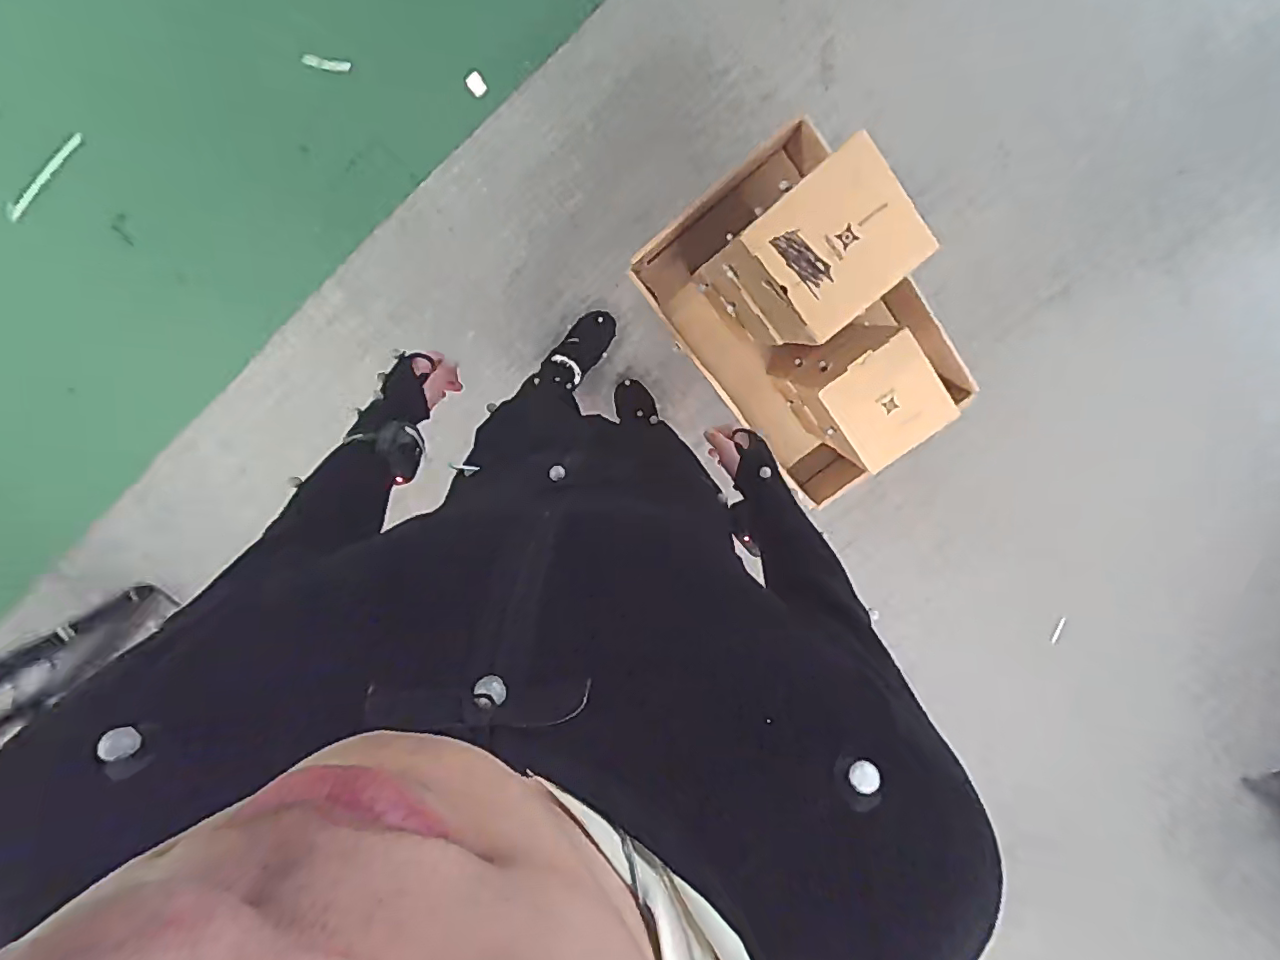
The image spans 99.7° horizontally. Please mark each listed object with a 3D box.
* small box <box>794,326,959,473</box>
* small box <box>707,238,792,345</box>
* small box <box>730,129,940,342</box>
[{"bbox_3d":[0.390,-0.143,0.926,0.168,0.176,0.179,-36,104,10],"label":"small box"},{"bbox_3d":[0.227,-0.338,0.864,0.179,0.176,0.168,-38,103,9],"label":"small box"},{"bbox_3d":[0.234,-0.299,0.704,0.179,0.176,0.168,-39,104,9],"label":"small box"}]
